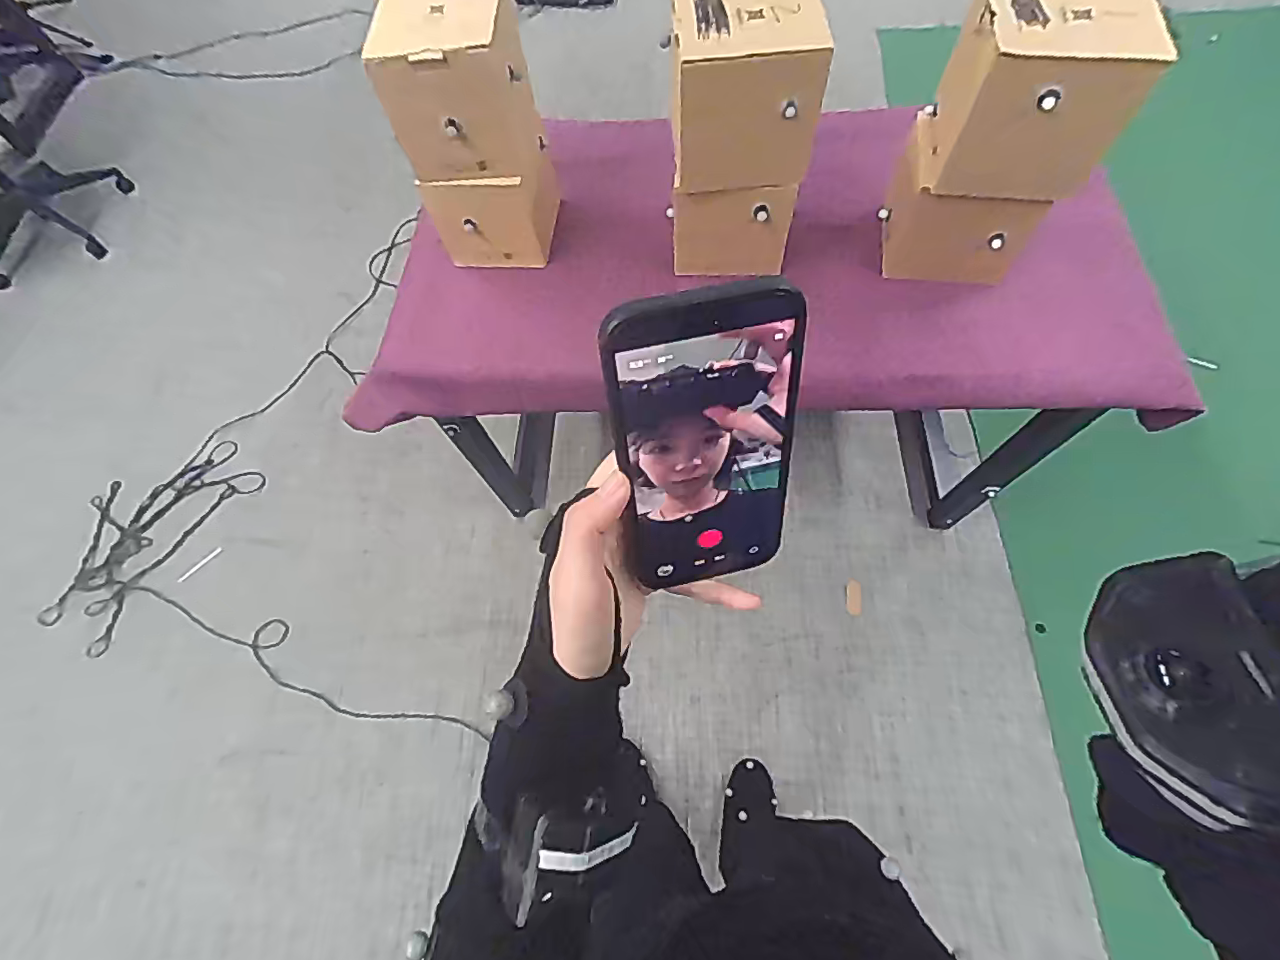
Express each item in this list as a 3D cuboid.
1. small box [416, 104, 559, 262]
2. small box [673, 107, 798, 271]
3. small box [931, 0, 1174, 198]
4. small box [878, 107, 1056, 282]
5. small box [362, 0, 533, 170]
[{"bbox_3d":[-0.242,-0.489,0.907,0.168,0.176,0.179,3,67,6],"label":"small box"},{"bbox_3d":[0.145,-0.453,0.858,0.179,0.176,0.168,3,67,6],"label":"small box"},{"bbox_3d":[0.477,-0.475,0.663,0.179,0.176,0.168,8,67,8],"label":"small box"},{"bbox_3d":[0.482,-0.424,0.819,0.179,0.176,0.168,8,67,9],"label":"small box"},{"bbox_3d":[-0.253,-0.563,0.760,0.168,0.176,0.179,-1,67,3],"label":"small box"}]
